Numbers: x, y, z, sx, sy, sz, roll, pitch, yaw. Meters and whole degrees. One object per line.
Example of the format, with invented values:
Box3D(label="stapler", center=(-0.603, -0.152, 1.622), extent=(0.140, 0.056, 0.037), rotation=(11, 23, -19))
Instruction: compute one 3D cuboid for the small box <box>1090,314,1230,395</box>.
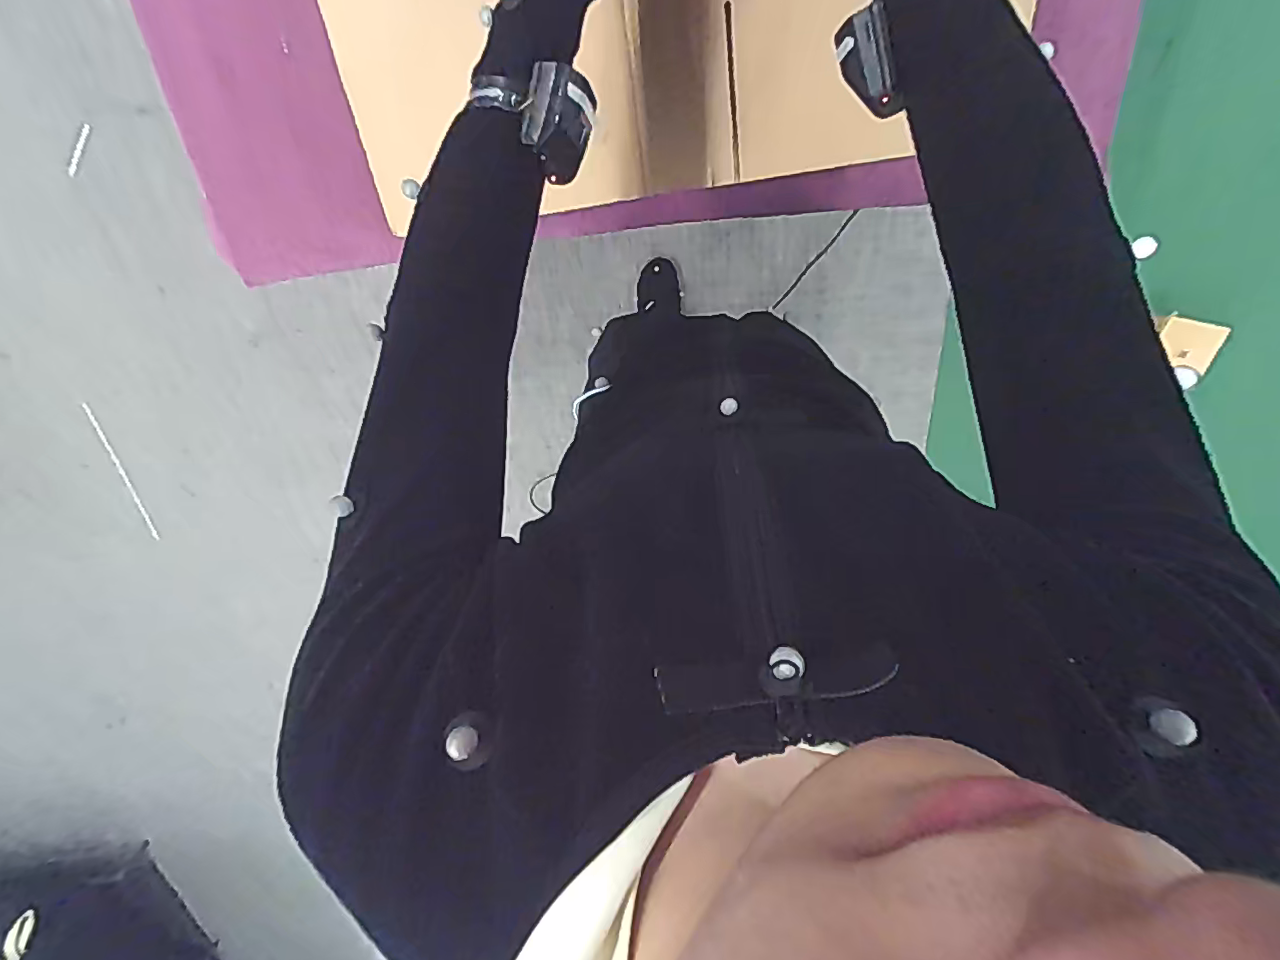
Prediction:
Box3D(label="small box", center=(1.397, -0.345, 1.466), extent=(0.179, 0.176, 0.168), rotation=(10, 114, -3))
